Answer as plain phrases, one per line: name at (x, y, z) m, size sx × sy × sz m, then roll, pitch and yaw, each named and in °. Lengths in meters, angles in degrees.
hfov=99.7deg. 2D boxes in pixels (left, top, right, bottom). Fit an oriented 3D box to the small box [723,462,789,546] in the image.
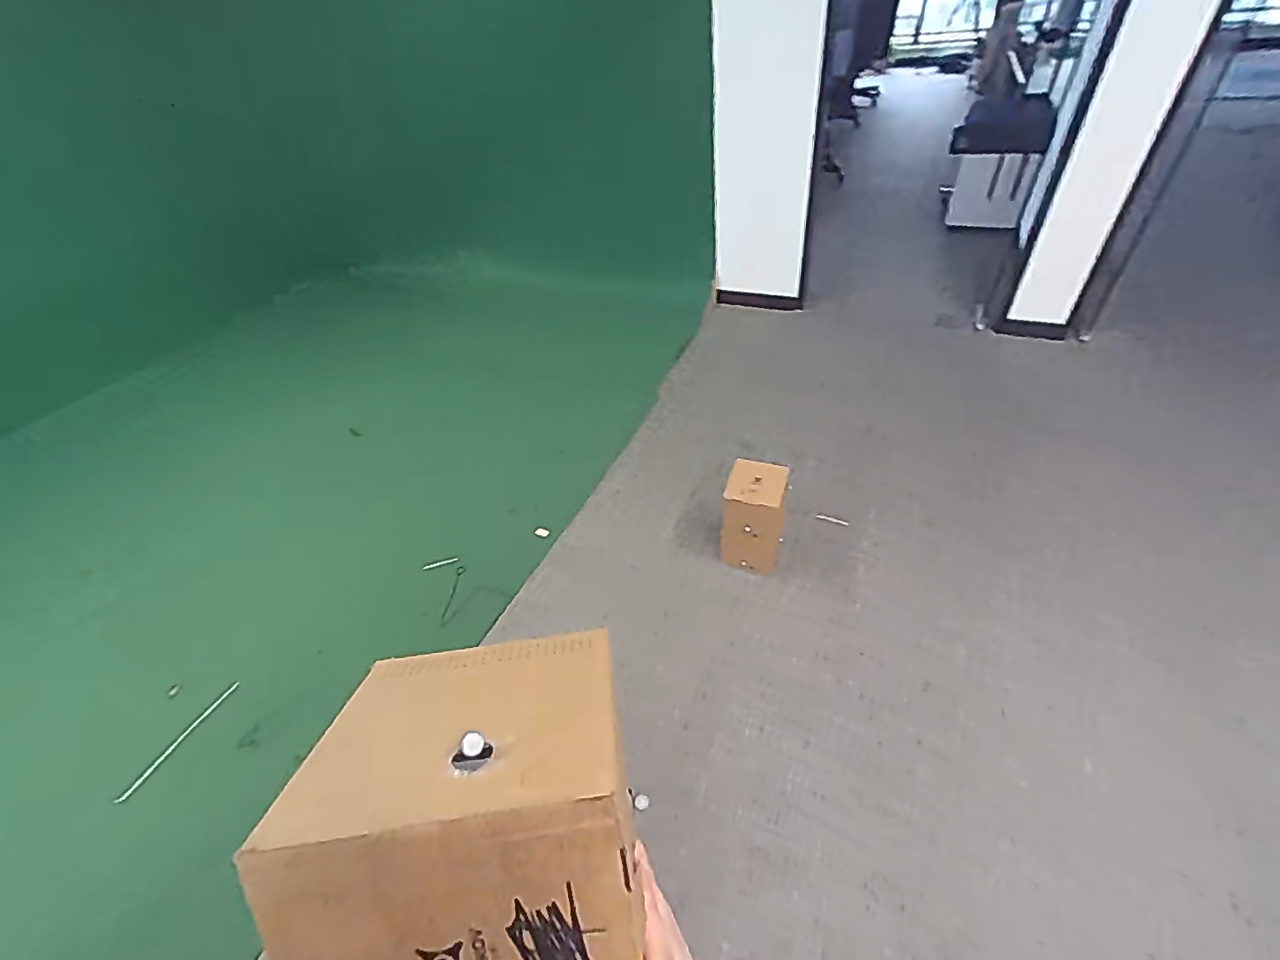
small box at (0.356, 0.074, 1.669) m, size 0.168 × 0.176 × 0.179 m, roll 11°, pitch 48°, yaw 20°
